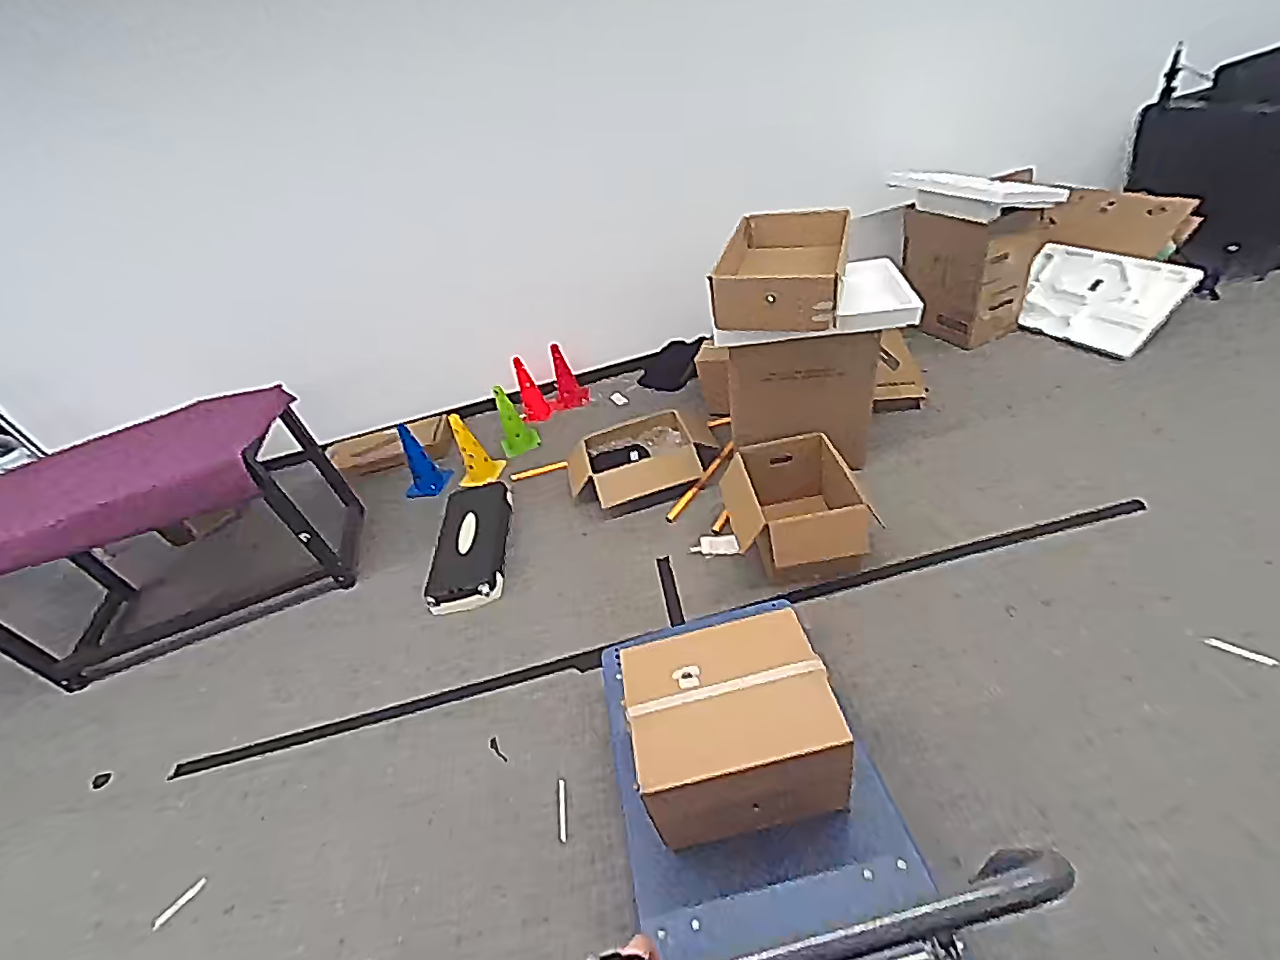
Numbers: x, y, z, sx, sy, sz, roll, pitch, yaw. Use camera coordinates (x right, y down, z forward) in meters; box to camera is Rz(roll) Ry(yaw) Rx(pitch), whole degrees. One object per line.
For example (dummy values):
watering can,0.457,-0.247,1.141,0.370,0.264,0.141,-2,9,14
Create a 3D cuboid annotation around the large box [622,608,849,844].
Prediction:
large box,0.205,0.546,1.204,0.408,0.320,0.320,-15,37,1
